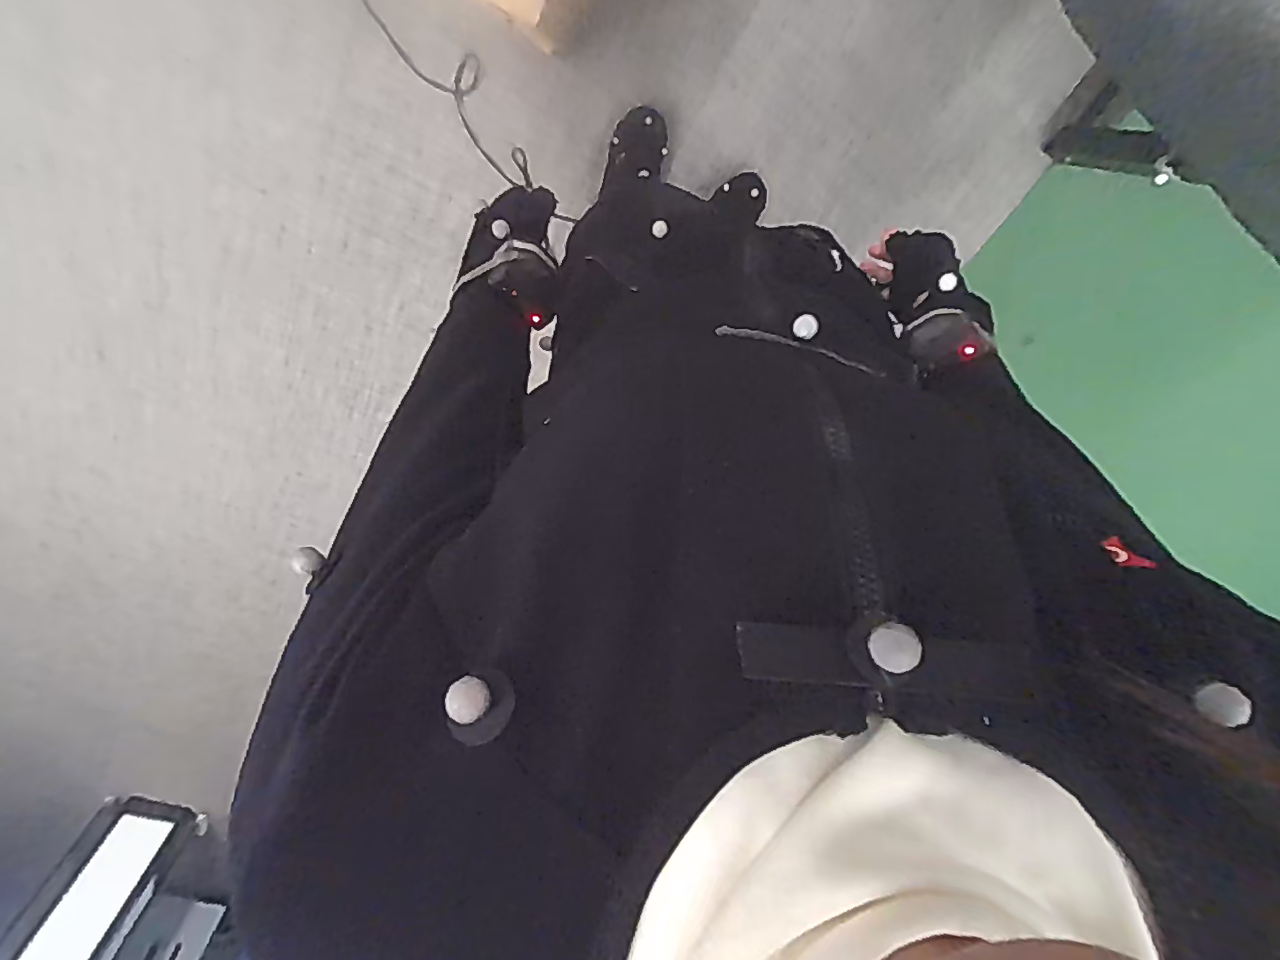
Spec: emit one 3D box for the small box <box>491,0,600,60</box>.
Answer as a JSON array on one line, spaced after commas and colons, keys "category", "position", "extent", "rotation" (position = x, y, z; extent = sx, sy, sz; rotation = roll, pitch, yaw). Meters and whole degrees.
[{"category": "small box", "position": [-0.158, -0.864, 0.921], "extent": [0.168, 0.176, 0.179], "rotation": [33, 120, -20]}]
